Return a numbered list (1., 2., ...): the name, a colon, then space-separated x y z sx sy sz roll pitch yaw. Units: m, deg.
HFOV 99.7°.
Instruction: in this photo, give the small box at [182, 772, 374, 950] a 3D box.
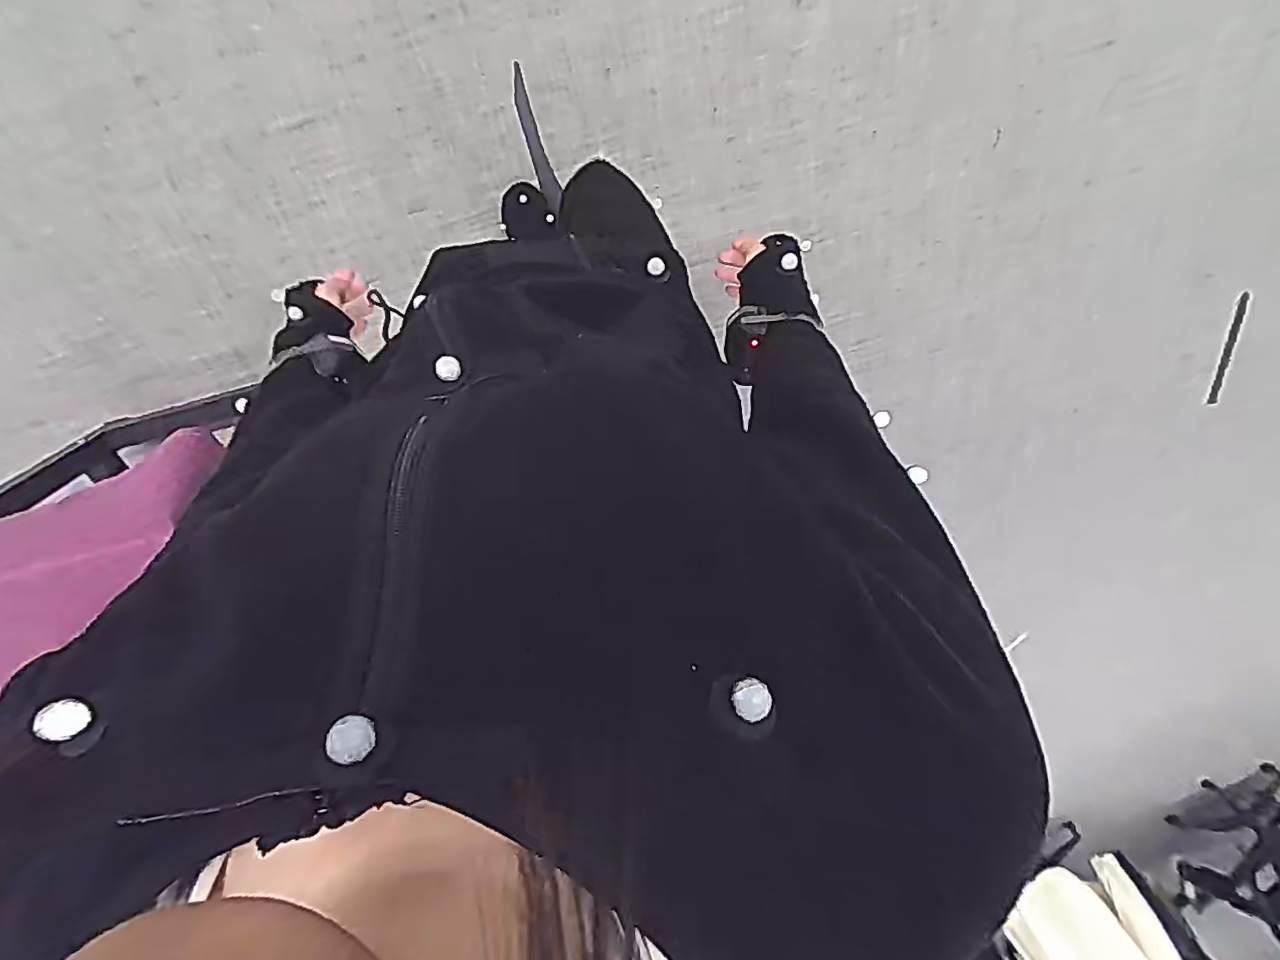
1. small box: -0.580 0.627 0.898 0.179 0.176 0.168 -20 122 2
